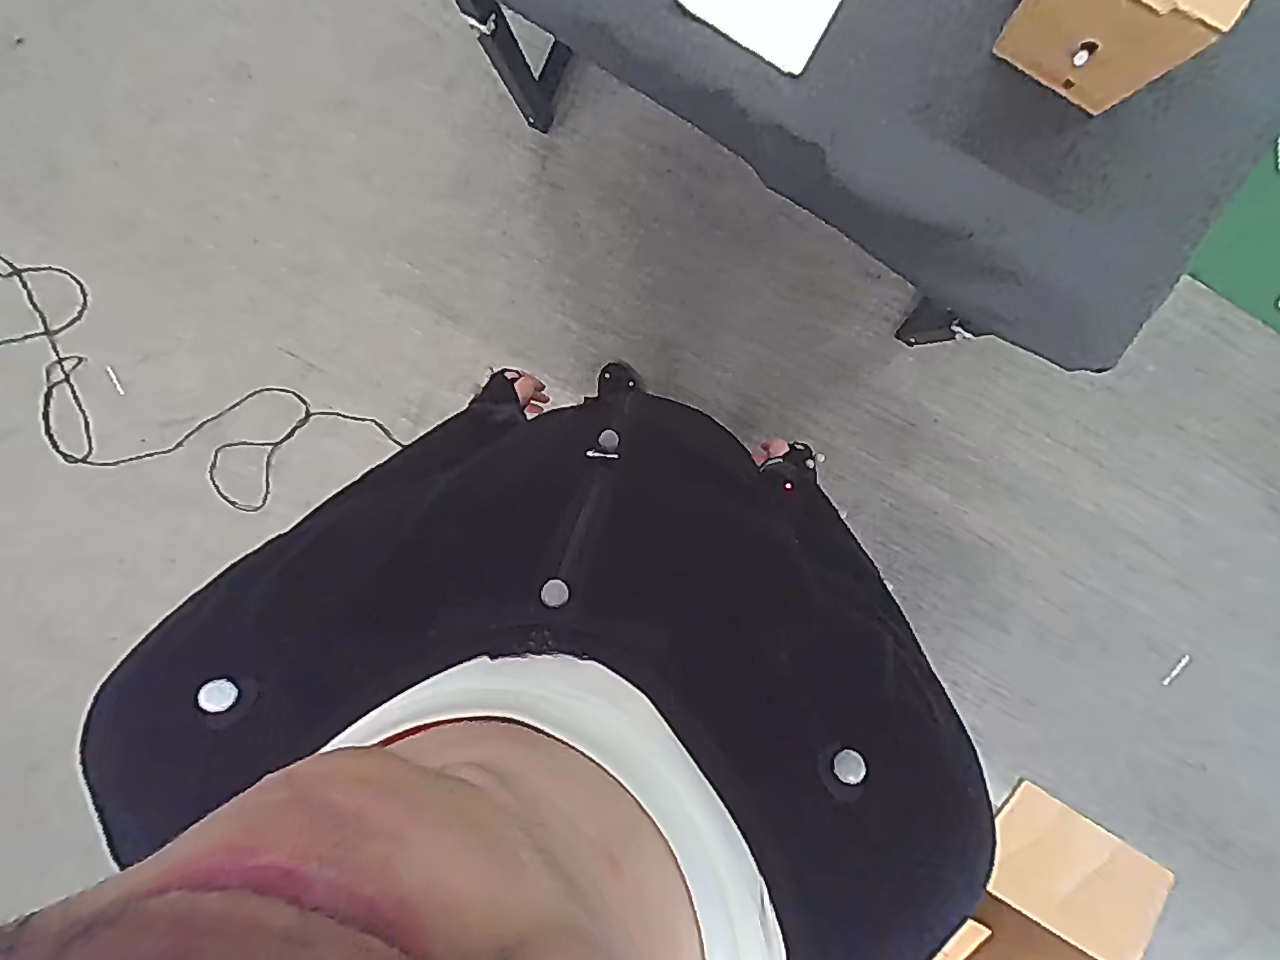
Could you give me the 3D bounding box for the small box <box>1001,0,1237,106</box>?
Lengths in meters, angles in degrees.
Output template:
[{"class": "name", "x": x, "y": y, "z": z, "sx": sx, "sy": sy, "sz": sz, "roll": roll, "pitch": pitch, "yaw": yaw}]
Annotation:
[{"class": "small box", "x": 0.554, "y": -0.573, "z": 0.607, "sx": 0.168, "sy": 0.176, "sz": 0.179, "roll": 29, "pitch": 102, "yaw": -3}]
